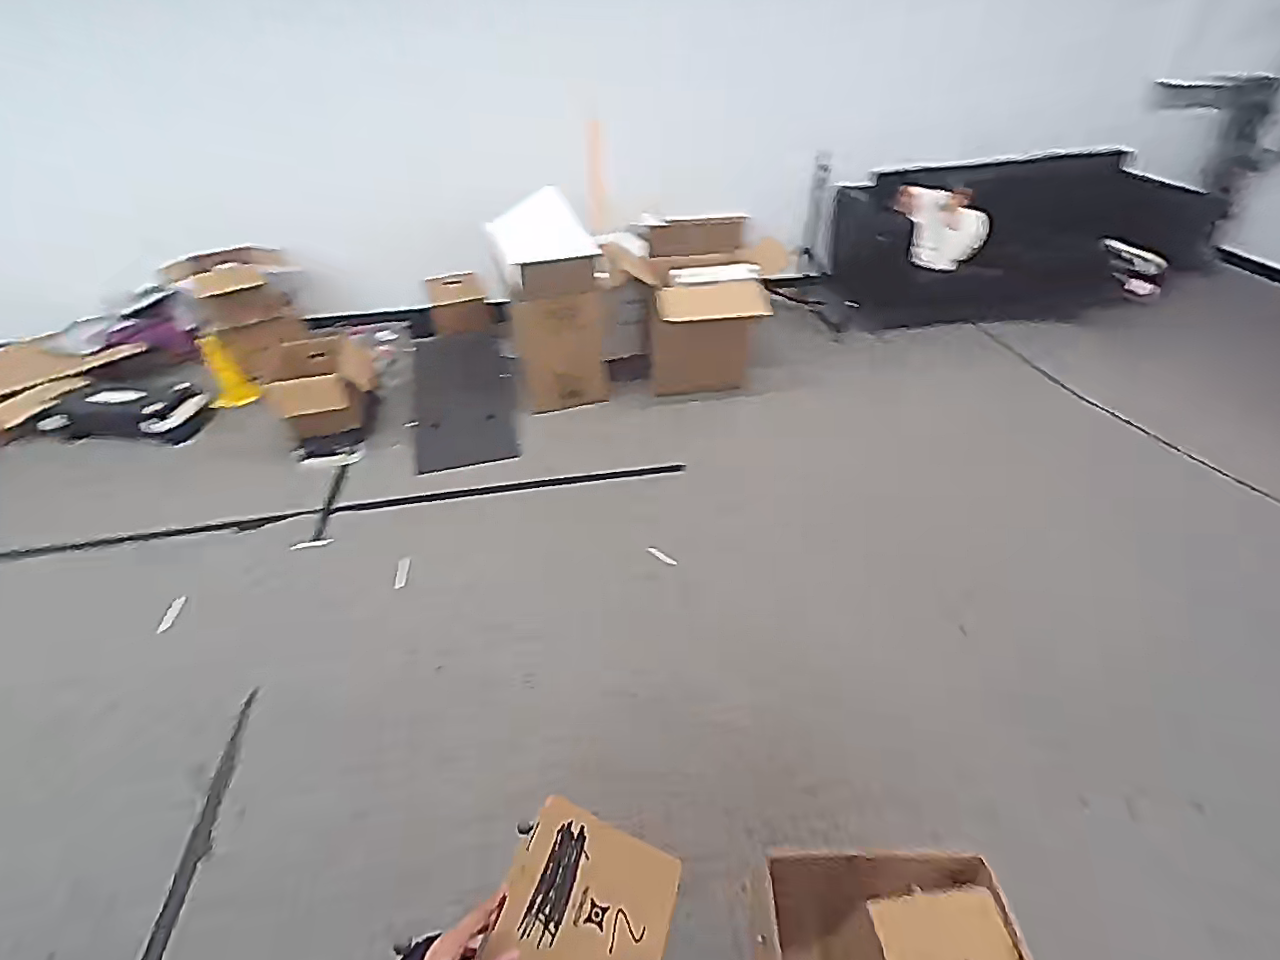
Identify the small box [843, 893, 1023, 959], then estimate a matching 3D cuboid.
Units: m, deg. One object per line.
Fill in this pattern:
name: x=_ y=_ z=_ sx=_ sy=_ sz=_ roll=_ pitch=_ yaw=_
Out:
small box: x=0.400 y=0.680 z=0.723 sx=0.179 sy=0.176 sz=0.168 roll=-3 pitch=40 yaw=-4
